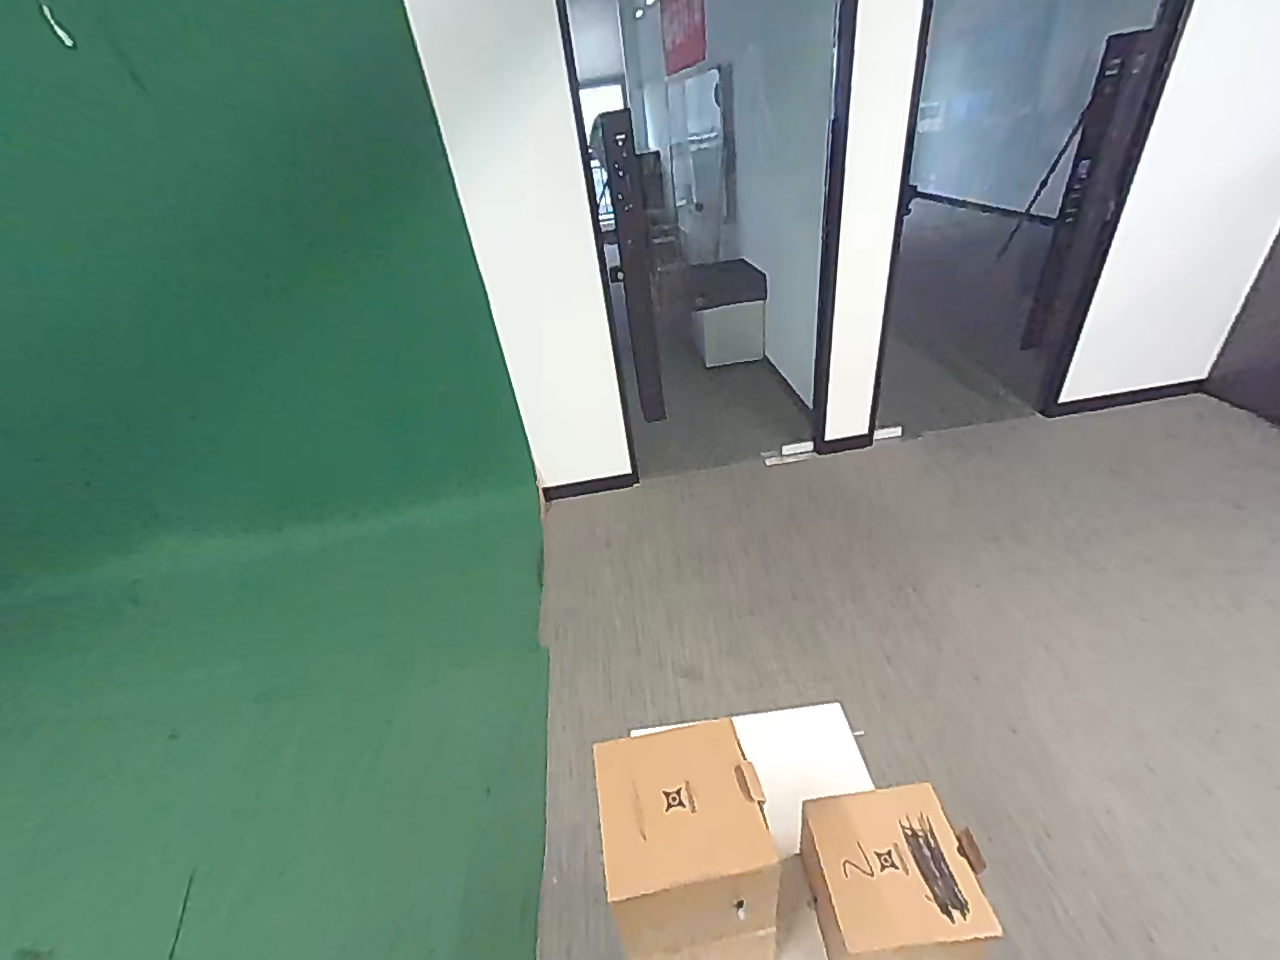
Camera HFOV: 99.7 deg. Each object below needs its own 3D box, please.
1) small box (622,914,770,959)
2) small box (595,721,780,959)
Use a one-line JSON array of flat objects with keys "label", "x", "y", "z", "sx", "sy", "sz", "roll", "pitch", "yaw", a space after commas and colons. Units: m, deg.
[{"label": "small box", "x": 0.067, "y": 0.556, "z": 0.726, "sx": 0.179, "sy": 0.176, "sz": 0.168, "roll": -9, "pitch": 34, "yaw": -3}, {"label": "small box", "x": 0.050, "y": 0.420, "z": 0.637, "sx": 0.179, "sy": 0.176, "sz": 0.168, "roll": -10, "pitch": 33, "yaw": -5}]
